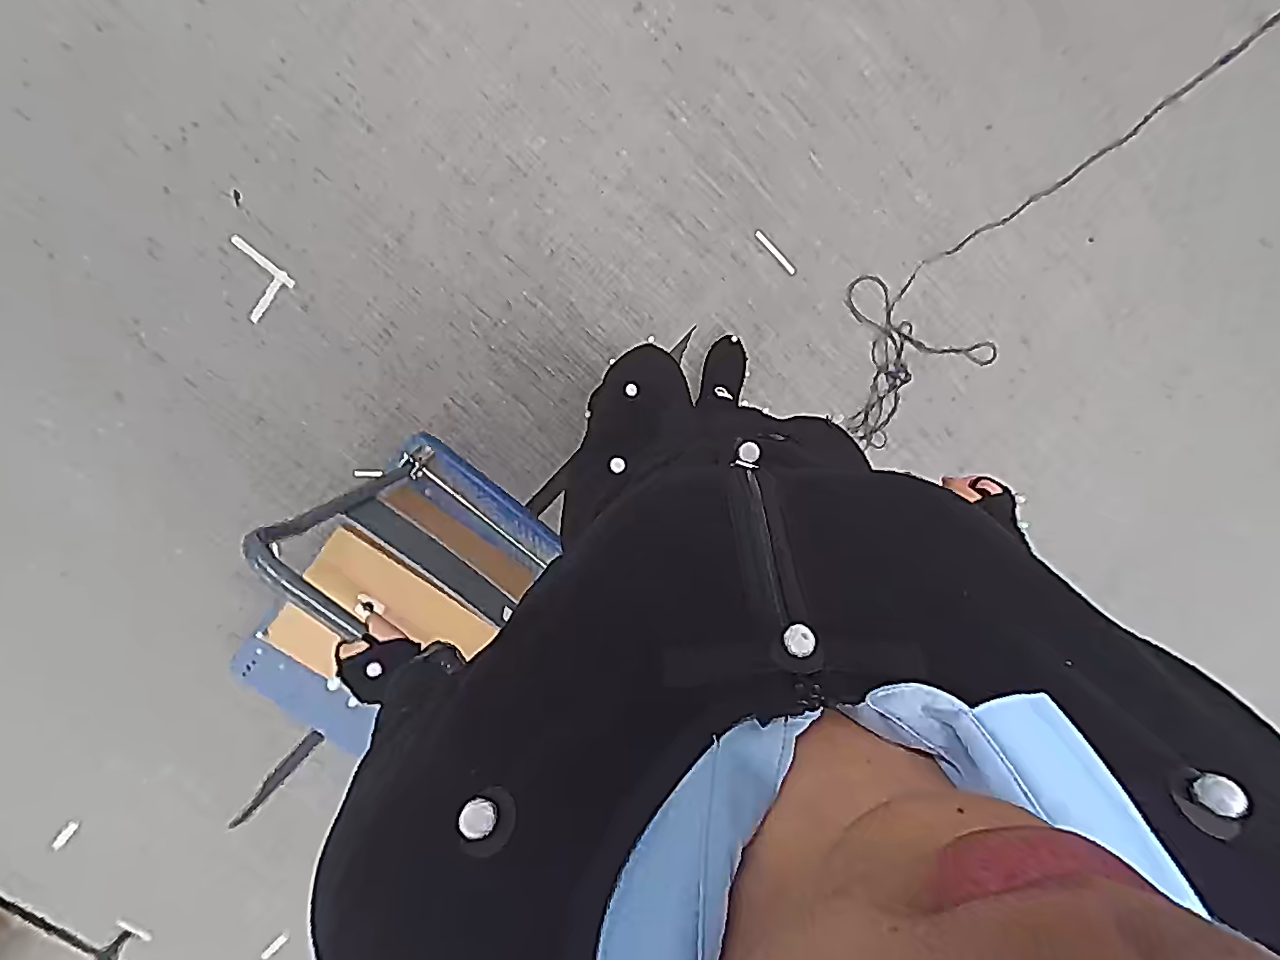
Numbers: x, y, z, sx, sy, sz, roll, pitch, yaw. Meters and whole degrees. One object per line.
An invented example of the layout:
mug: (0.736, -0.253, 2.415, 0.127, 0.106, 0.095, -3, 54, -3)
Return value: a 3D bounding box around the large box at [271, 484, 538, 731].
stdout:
large box: (-0.505, 0.274, 1.245, 0.408, 0.320, 0.320, 37, 101, -9)
